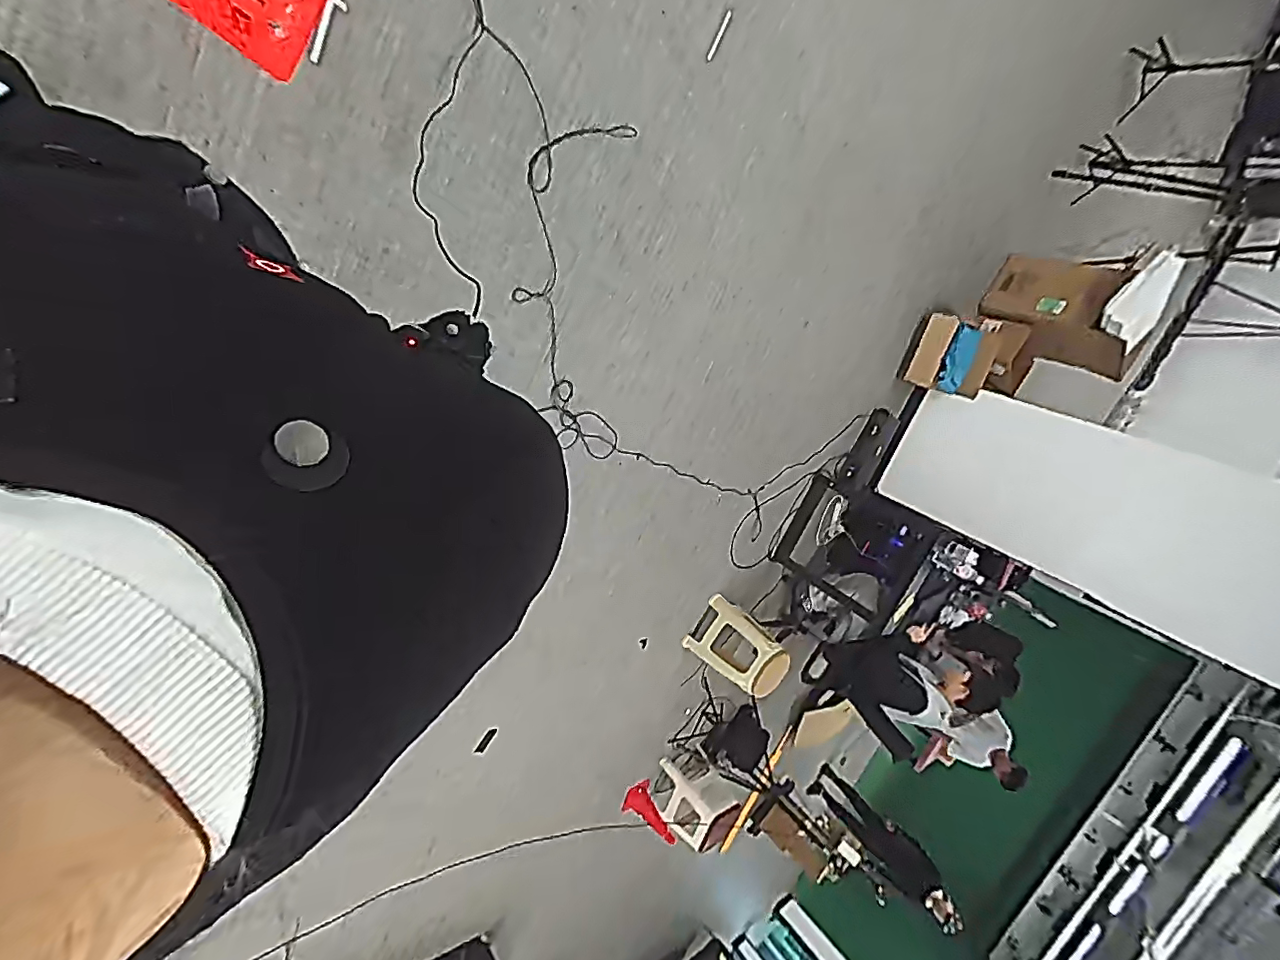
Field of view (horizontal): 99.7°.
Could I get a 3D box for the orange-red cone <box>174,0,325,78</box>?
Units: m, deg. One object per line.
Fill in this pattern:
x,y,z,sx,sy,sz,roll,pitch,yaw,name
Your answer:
-0.587,-0.799,0.841,0.199,0.360,0.198,26,95,-47,orange-red cone
